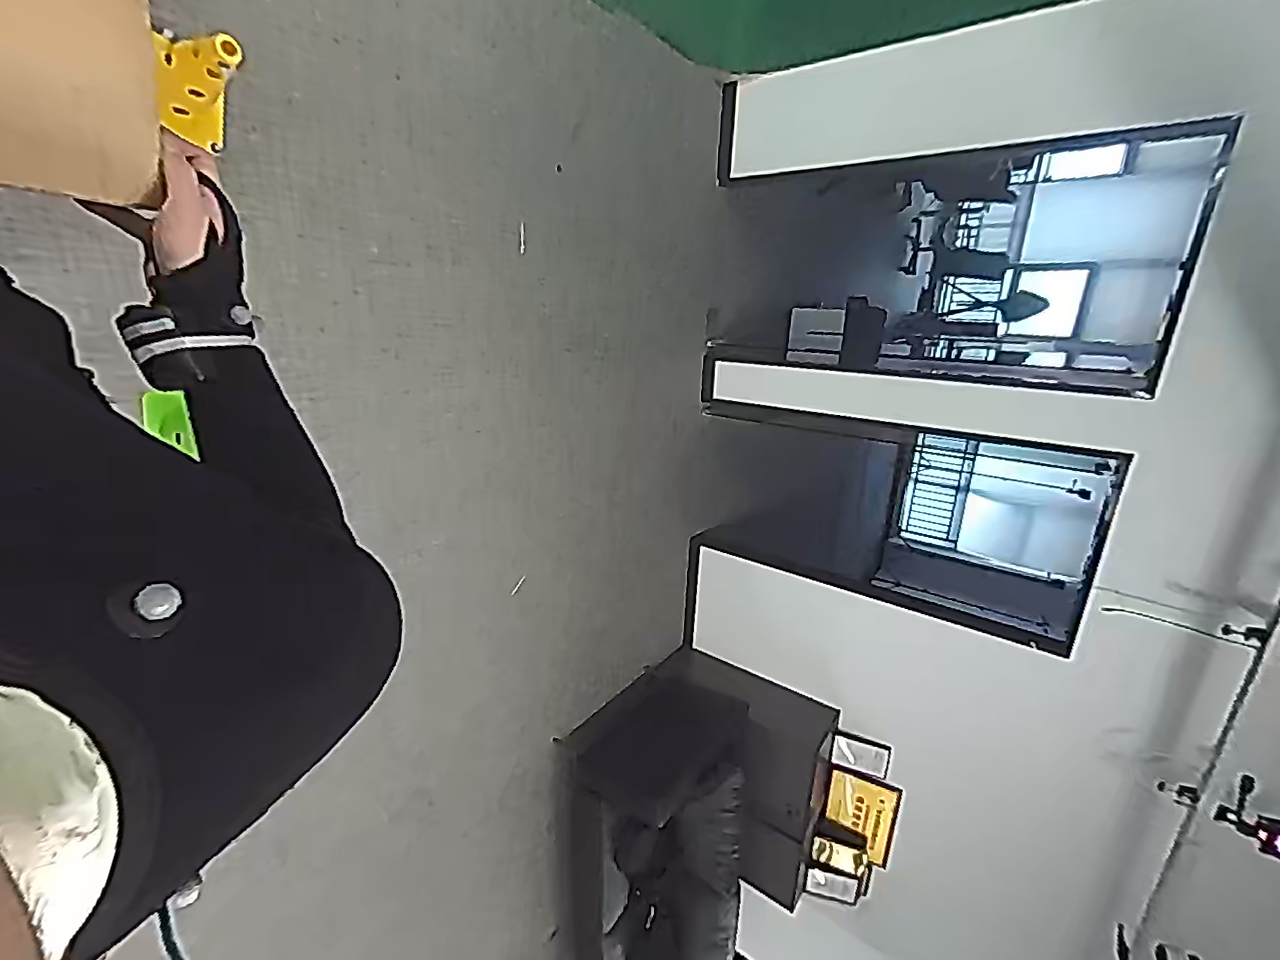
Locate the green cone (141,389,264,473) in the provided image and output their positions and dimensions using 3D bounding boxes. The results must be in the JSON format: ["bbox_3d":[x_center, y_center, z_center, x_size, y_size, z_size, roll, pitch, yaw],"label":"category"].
[{"bbox_3d":[-0.958,-0.090,1.243,0.200,0.368,0.202,-10,109,-54],"label":"green cone"}]
